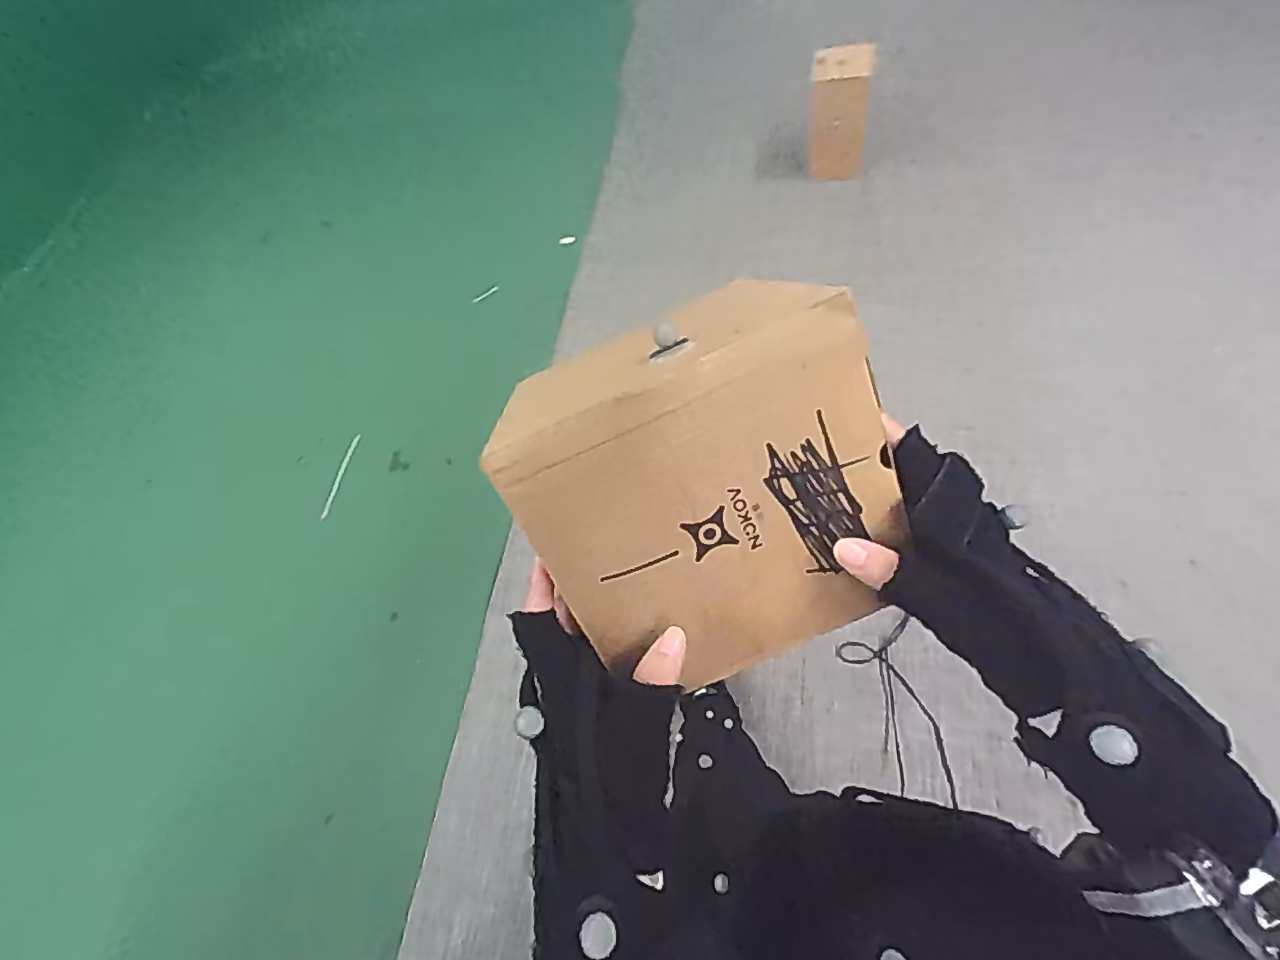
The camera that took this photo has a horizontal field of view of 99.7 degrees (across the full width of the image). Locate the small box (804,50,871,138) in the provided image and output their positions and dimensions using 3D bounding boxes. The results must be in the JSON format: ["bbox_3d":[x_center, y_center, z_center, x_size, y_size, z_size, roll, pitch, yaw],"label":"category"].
[{"bbox_3d":[0.630,-1.231,1.733,0.179,0.176,0.168,7,66,16],"label":"small box"}]

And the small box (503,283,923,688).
[{"bbox_3d":[0.038,-0.013,0.343,0.179,0.168,0.176,-23,22,5],"label":"small box"}]

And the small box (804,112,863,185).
[{"bbox_3d":[0.667,-1.156,1.875,0.179,0.176,0.168,4,65,17],"label":"small box"}]
